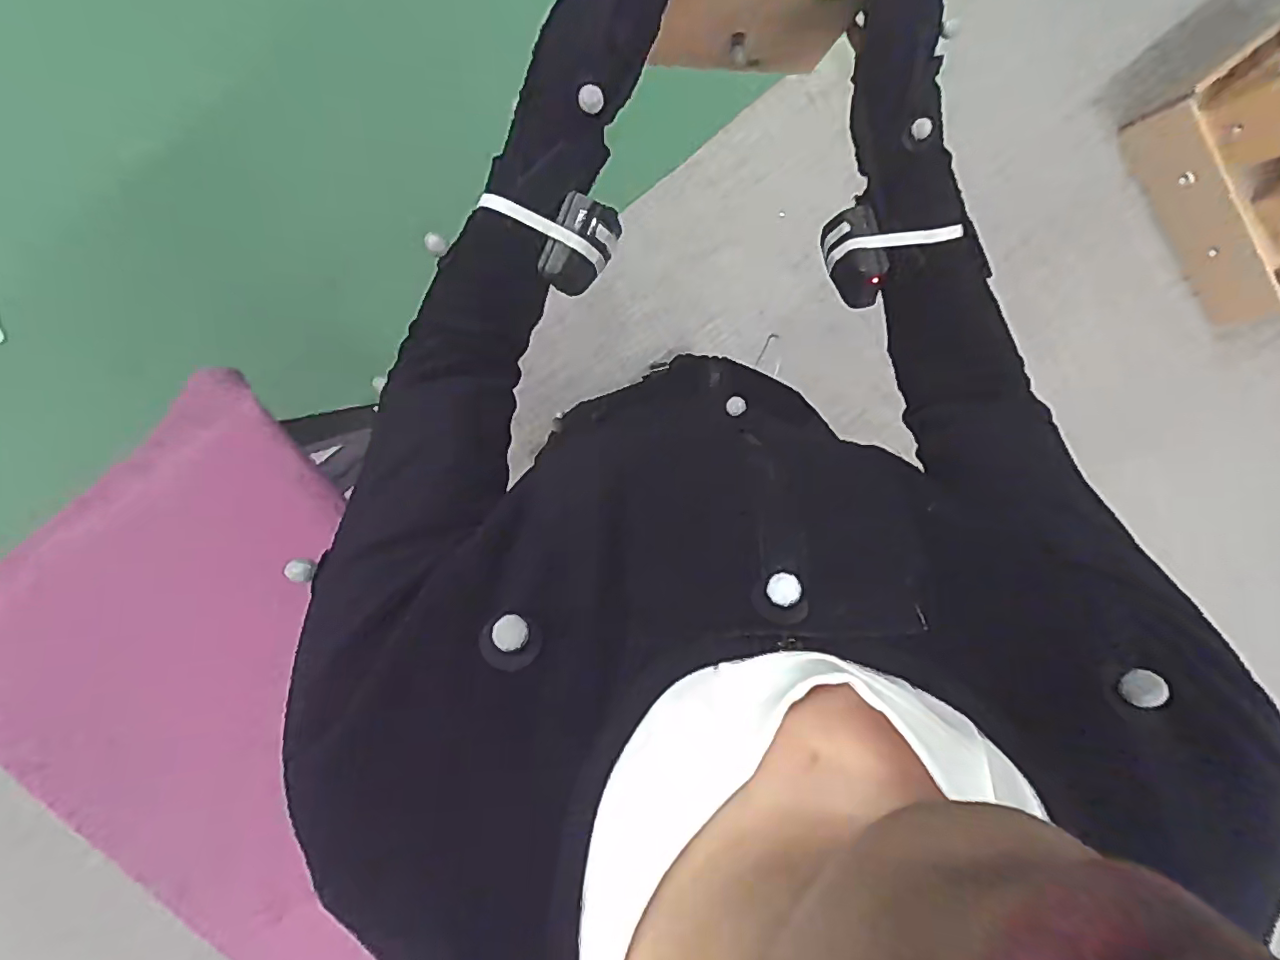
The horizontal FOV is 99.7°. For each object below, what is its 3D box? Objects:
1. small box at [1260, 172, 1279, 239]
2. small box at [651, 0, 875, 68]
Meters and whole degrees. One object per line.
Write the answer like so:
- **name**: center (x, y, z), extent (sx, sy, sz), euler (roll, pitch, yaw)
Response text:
- **small box**: center (1.675, -0.707, 1.302), extent (0.179, 0.176, 0.168), euler (-42, 99, 5)
- **small box**: center (0.099, -0.452, 0.403), extent (0.168, 0.176, 0.179), euler (1, 106, -5)
